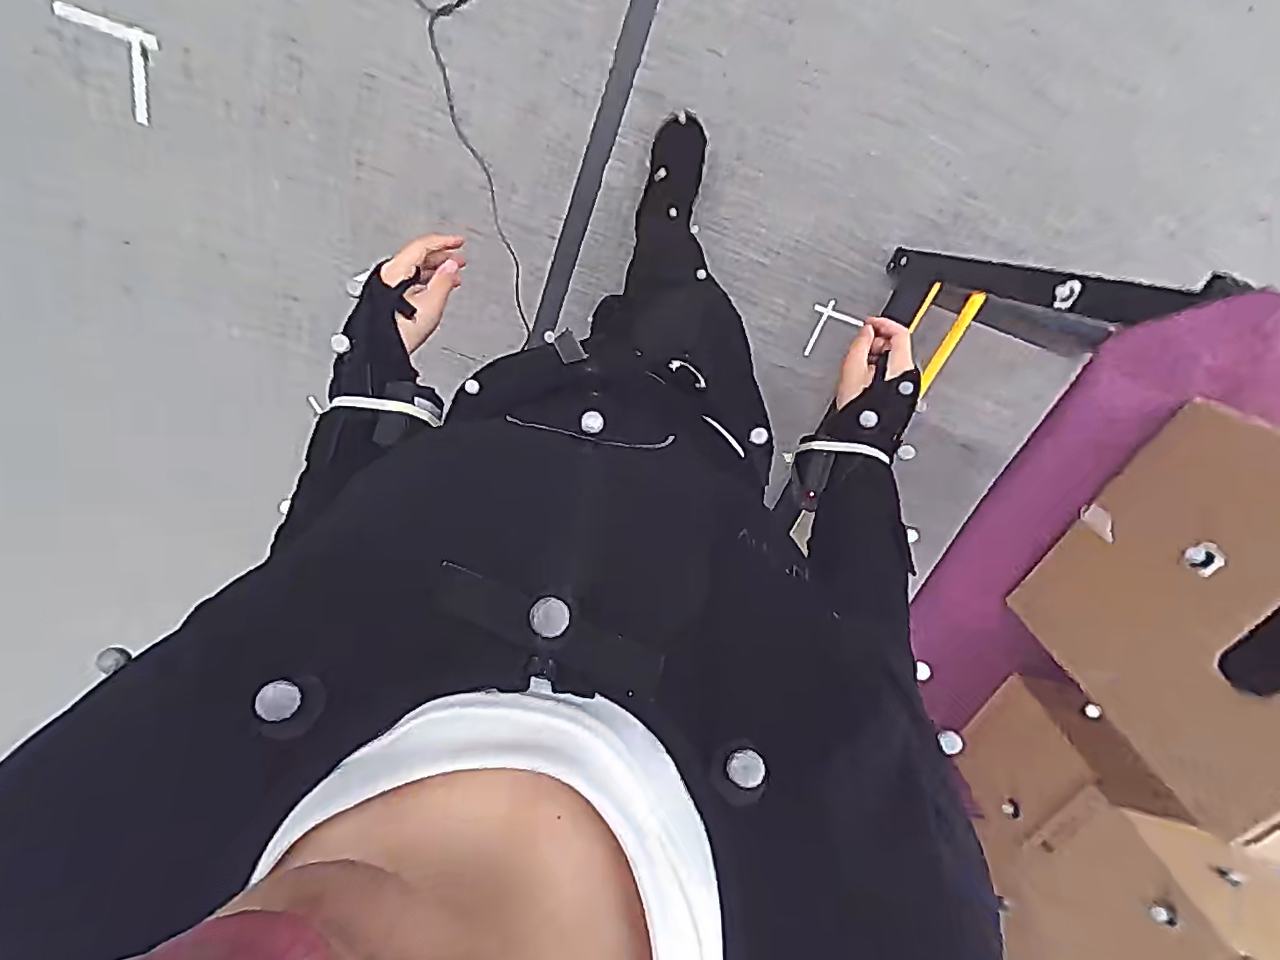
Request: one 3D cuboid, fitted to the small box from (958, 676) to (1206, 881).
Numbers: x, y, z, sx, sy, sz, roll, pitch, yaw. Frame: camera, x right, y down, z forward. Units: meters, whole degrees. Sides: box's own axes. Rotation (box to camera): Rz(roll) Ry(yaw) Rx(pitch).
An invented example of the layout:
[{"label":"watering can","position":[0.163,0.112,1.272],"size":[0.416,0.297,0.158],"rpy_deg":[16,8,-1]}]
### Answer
[{"label":"small box","position":[0.584,0.410,0.751],"size":[0.168,0.176,0.179],"rpy_deg":[17,117,-10]}]
